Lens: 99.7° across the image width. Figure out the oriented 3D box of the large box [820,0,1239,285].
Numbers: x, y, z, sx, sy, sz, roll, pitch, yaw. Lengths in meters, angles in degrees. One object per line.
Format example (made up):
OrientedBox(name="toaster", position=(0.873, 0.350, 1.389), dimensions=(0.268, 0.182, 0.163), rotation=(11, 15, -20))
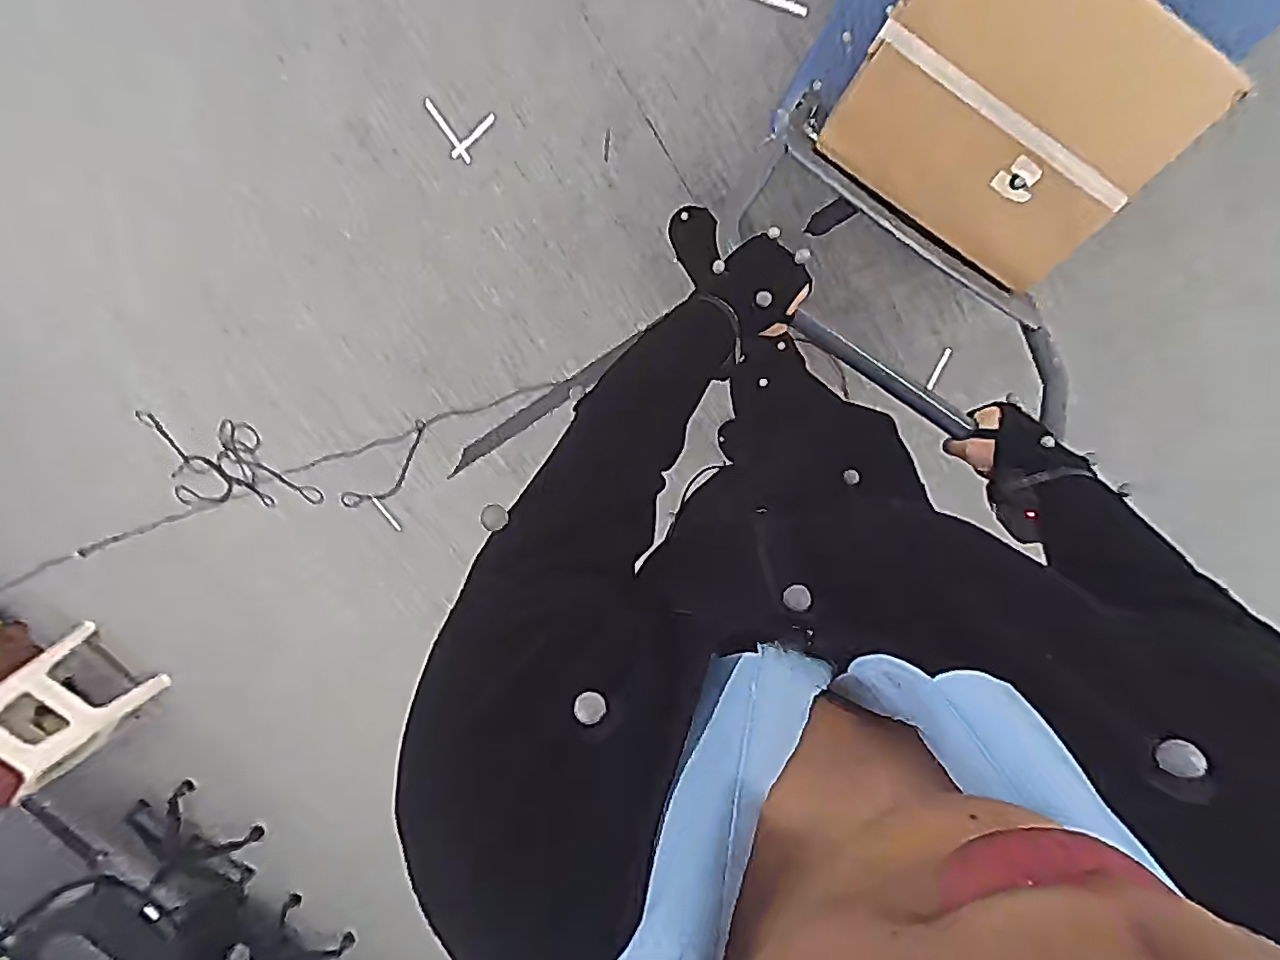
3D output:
OrientedBox(name="large box", position=(0.547, -0.592, 0.858), dimensions=(0.408, 0.320, 0.320), rotation=(32, 132, -6))
